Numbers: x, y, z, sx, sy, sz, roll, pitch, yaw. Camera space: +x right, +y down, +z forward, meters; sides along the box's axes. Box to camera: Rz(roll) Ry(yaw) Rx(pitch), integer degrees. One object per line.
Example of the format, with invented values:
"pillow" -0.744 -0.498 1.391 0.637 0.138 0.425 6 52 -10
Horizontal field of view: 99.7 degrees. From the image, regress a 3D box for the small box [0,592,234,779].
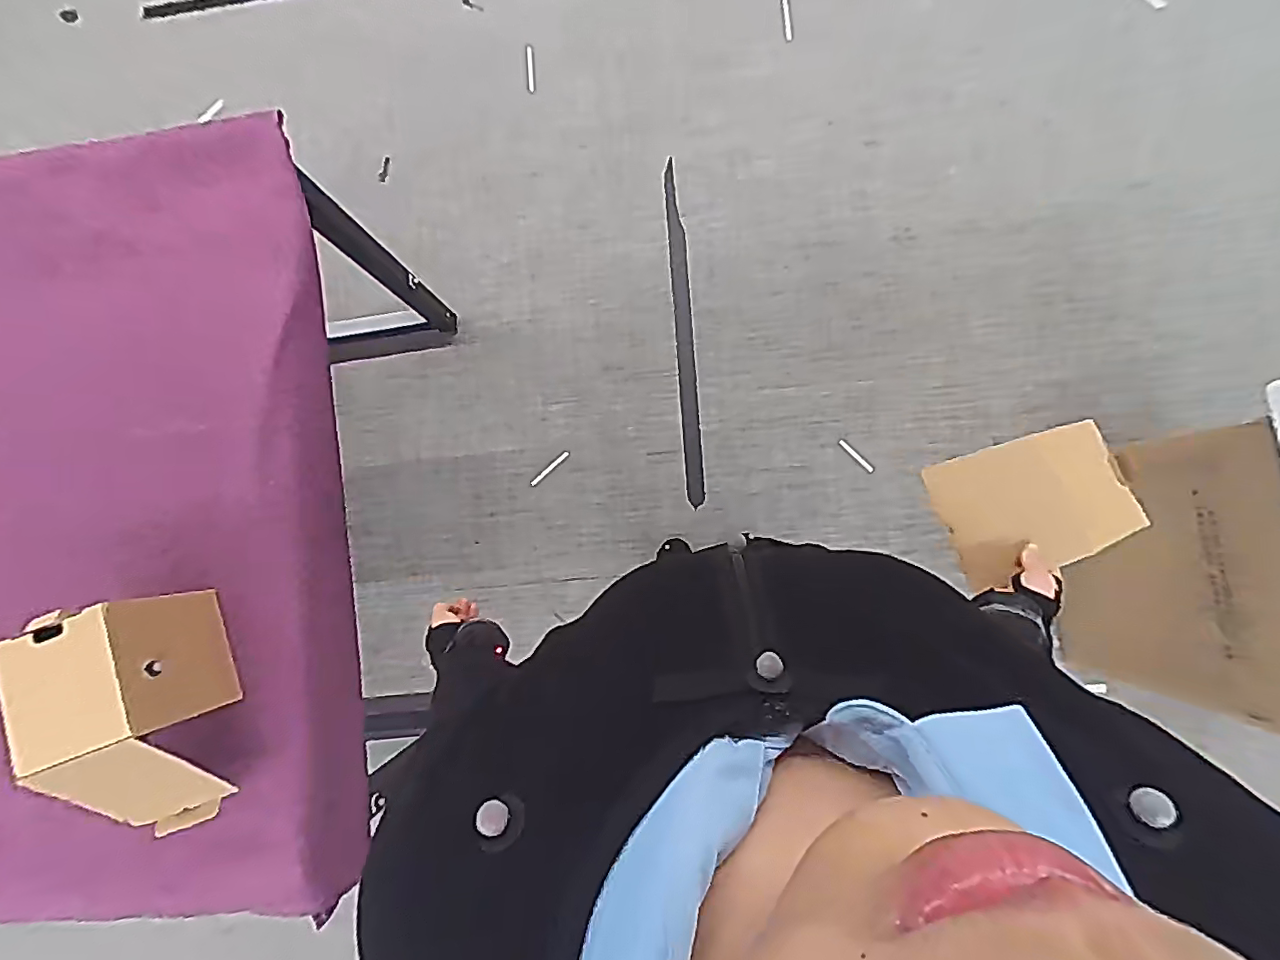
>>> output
"small box" -0.712 0.269 0.747 0.168 0.176 0.179 -21 82 2
